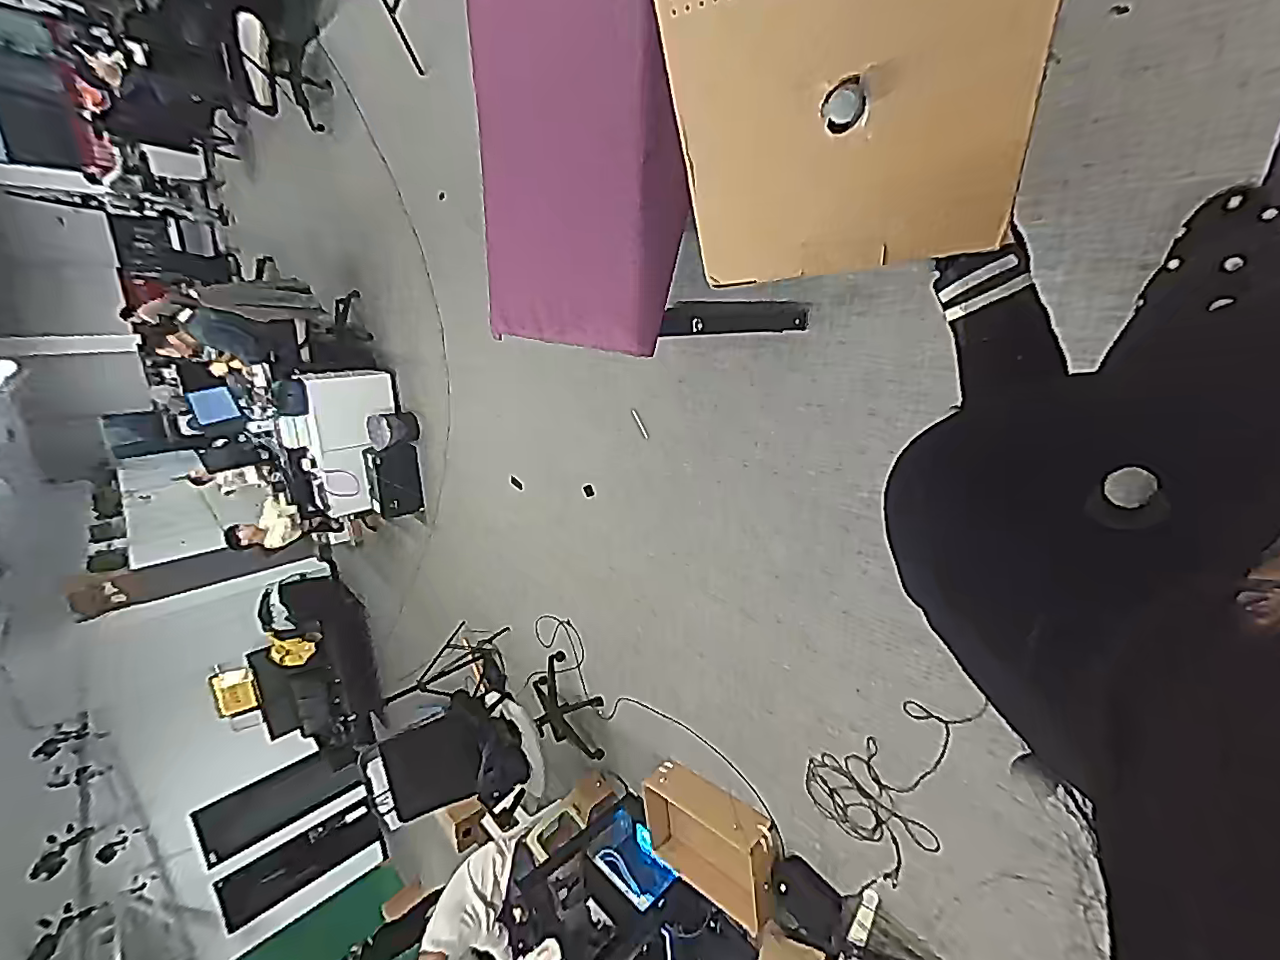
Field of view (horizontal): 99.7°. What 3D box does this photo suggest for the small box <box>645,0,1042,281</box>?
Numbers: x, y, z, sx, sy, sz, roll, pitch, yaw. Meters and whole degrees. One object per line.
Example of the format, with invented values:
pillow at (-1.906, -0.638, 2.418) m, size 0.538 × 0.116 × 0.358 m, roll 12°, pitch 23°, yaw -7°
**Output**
small box at (0.108, -0.242, 0.304) m, size 0.168 × 0.179 × 0.176 m, roll 0°, pitch 139°, yaw 20°
